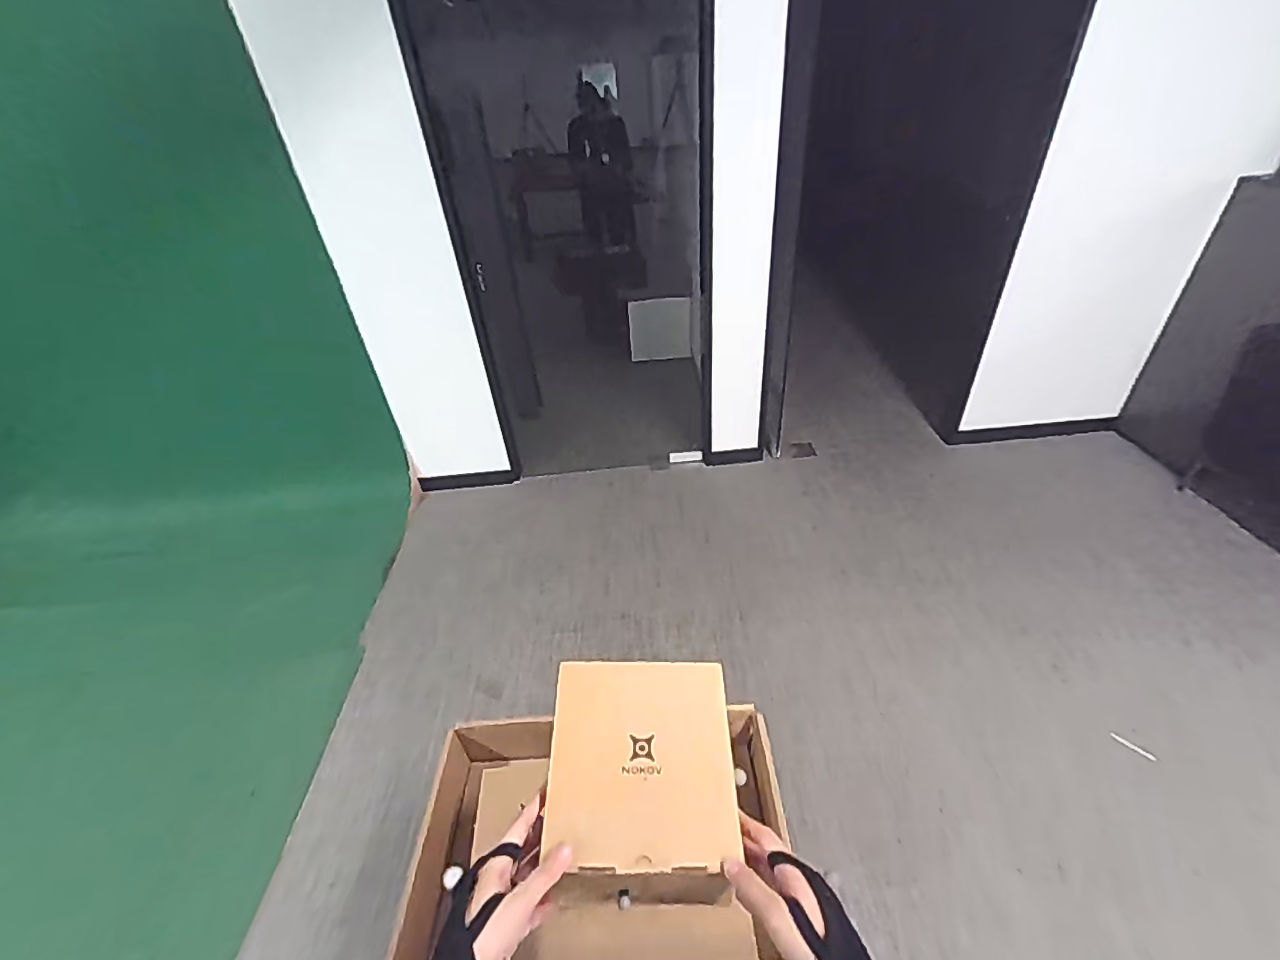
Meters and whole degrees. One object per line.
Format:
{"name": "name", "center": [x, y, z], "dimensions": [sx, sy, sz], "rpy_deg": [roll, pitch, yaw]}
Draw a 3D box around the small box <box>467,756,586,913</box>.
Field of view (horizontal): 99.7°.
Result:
{"name": "small box", "center": [-0.186, 0.616, 0.944], "dimensions": [0.168, 0.176, 0.179], "rpy_deg": [-6, 37, -2]}
